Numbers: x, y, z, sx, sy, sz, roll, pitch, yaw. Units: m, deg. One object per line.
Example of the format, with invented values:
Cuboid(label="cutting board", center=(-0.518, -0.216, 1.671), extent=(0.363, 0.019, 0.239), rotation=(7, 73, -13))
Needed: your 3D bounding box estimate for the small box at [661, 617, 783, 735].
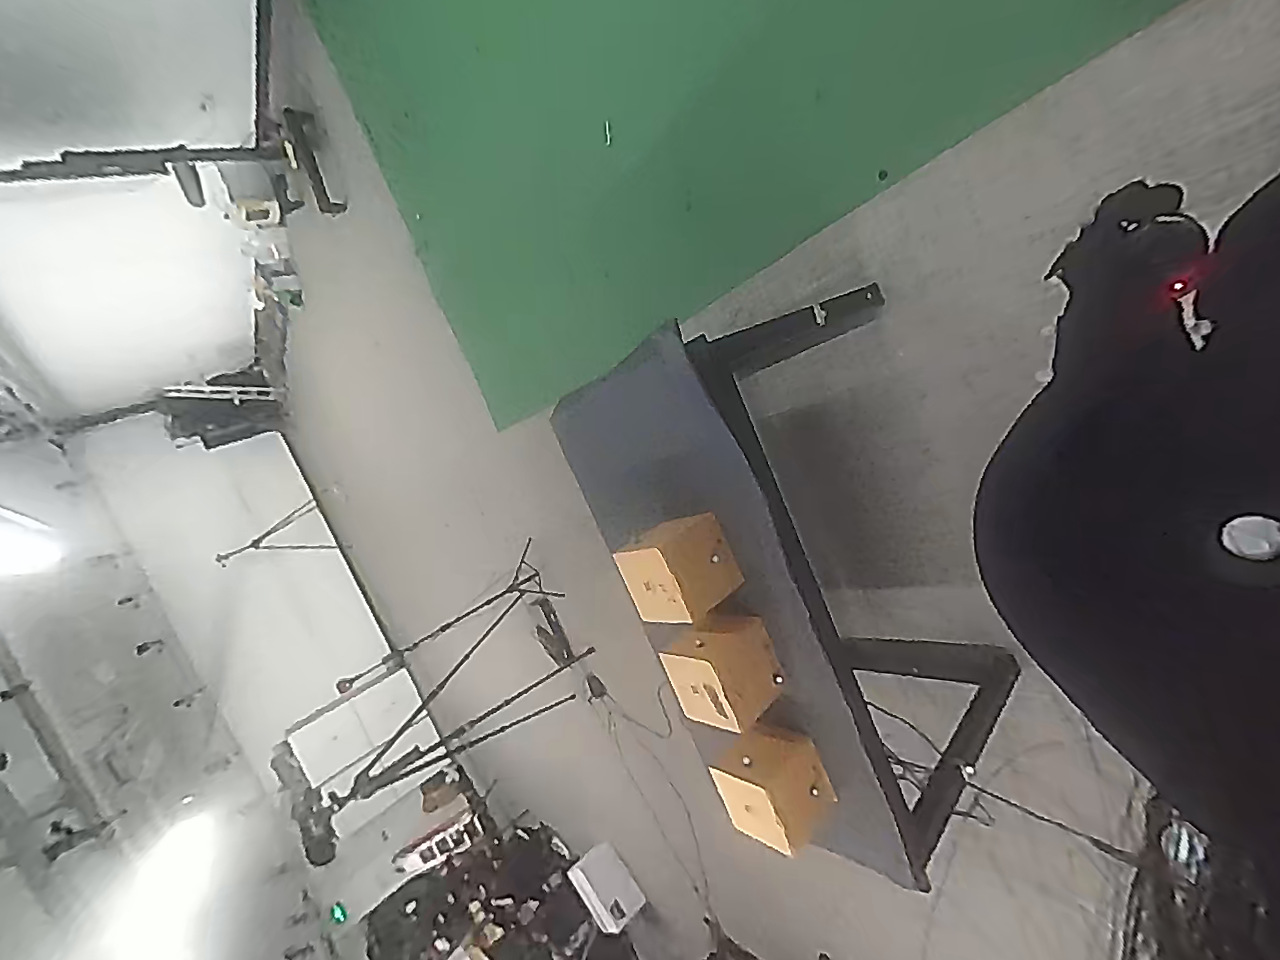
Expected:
Cuboid(label="small box", center=(0.184, 0.411, 1.165), extent=(0.179, 0.176, 0.168), rotation=(-16, 99, 53))

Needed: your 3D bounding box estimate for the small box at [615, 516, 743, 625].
Cuboid(label="small box", center=(0.083, 0.190, 1.146), extent=(0.179, 0.176, 0.168), rotation=(-19, 97, 53))

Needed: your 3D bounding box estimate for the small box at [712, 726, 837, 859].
Cuboid(label="small box", center=(0.298, 0.674, 1.193), extent=(0.179, 0.176, 0.168), rotation=(-18, 97, 54))
